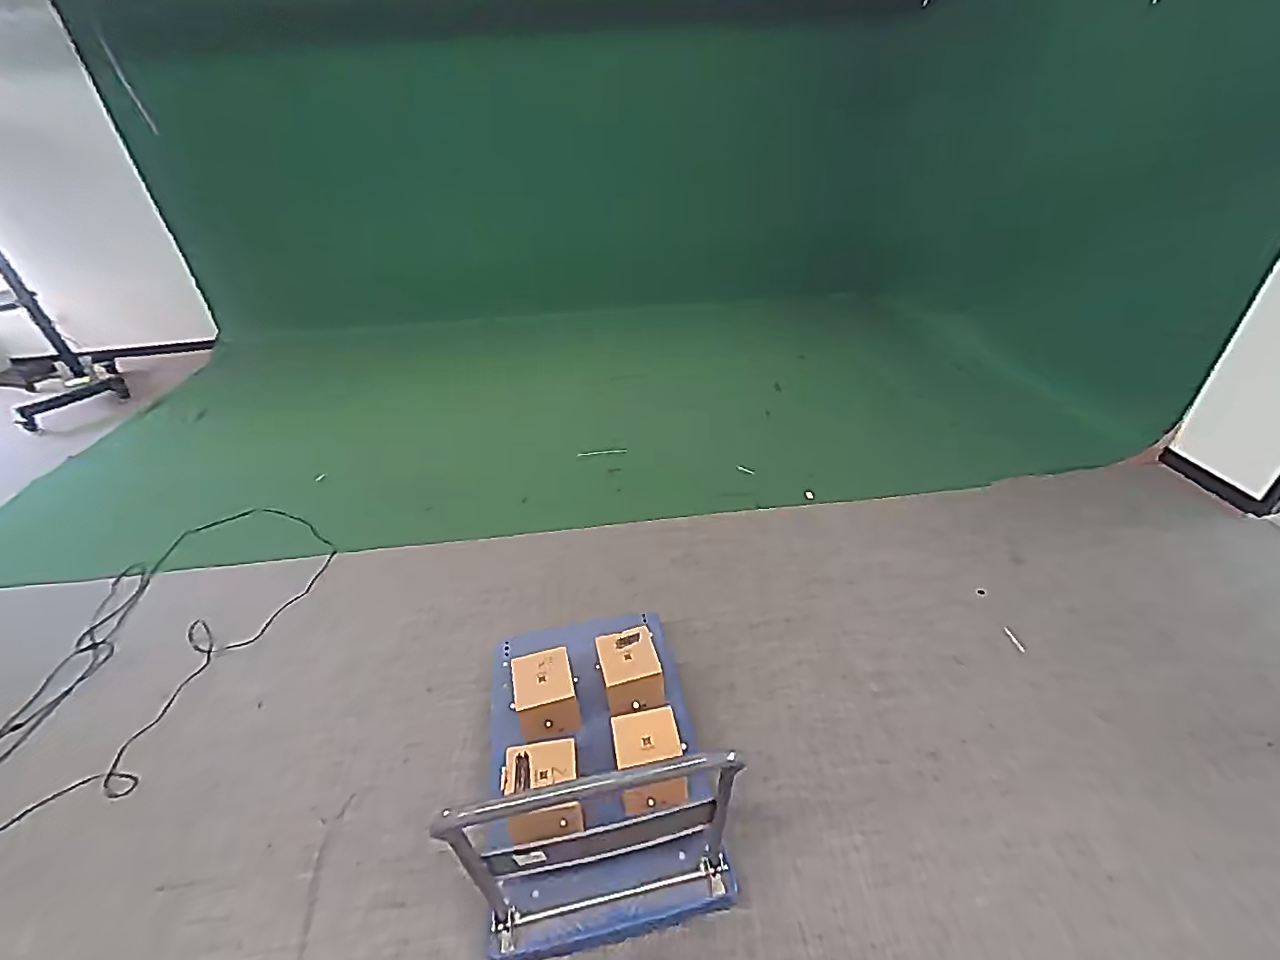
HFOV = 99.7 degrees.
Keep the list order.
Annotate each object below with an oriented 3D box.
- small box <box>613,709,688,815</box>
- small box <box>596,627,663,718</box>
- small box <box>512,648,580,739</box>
[{"bbox_3d":[0.023,0.734,1.410,0.168,0.176,0.179,-8,37,-7],"label":"small box"},{"bbox_3d":[-0.031,0.578,1.625,0.168,0.176,0.179,-12,38,-10],"label":"small box"},{"bbox_3d":[-0.274,0.628,1.577,0.168,0.176,0.179,-10,37,-11],"label":"small box"}]
